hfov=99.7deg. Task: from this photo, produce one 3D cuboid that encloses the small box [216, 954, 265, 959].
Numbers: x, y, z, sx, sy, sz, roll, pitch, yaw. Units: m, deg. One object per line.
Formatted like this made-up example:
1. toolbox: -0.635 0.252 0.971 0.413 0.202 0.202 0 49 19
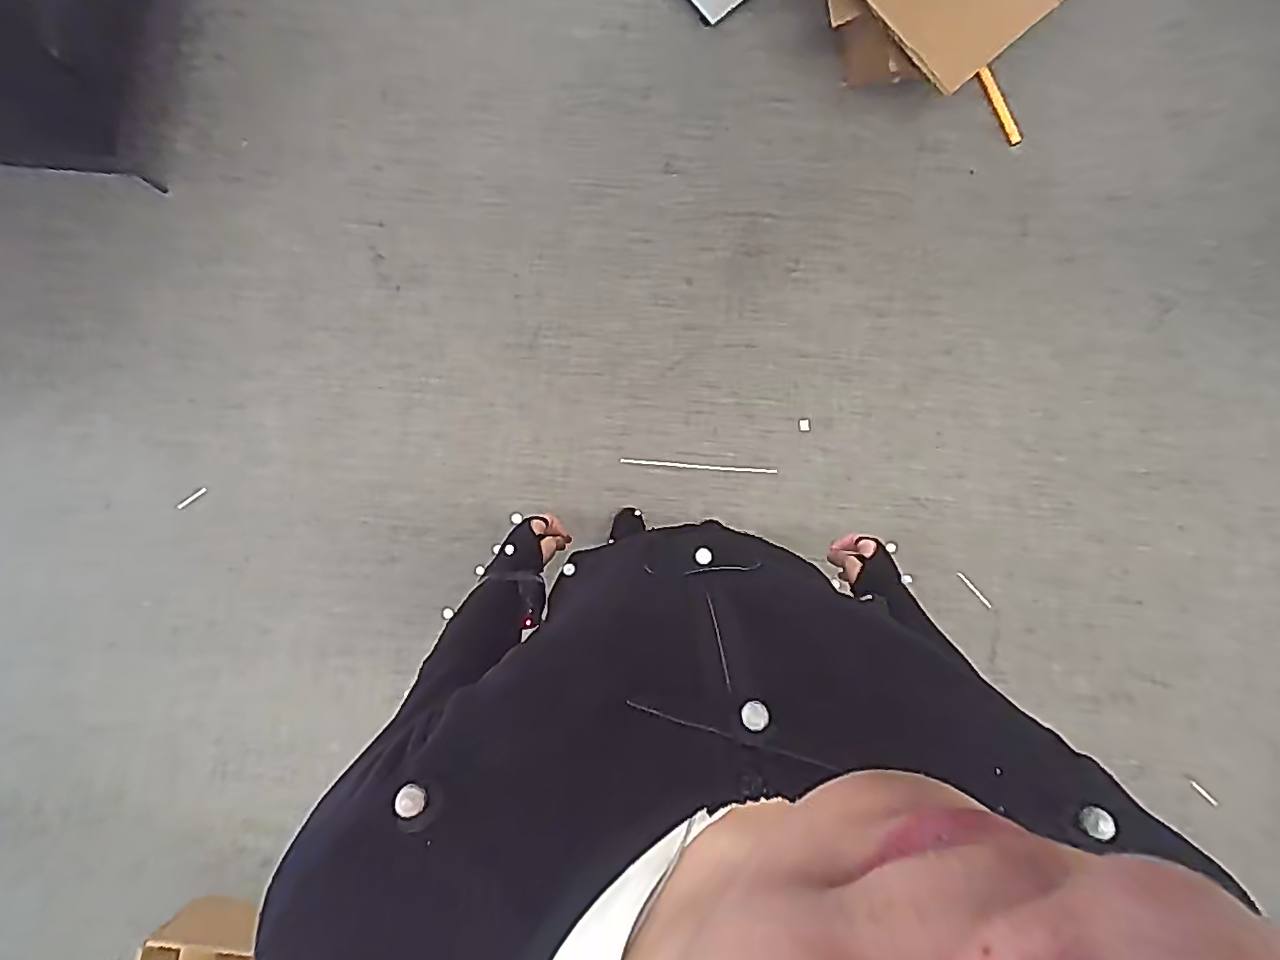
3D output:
1. small box: -1.098 1.400 1.419 0.179 0.176 0.168 8 86 0
